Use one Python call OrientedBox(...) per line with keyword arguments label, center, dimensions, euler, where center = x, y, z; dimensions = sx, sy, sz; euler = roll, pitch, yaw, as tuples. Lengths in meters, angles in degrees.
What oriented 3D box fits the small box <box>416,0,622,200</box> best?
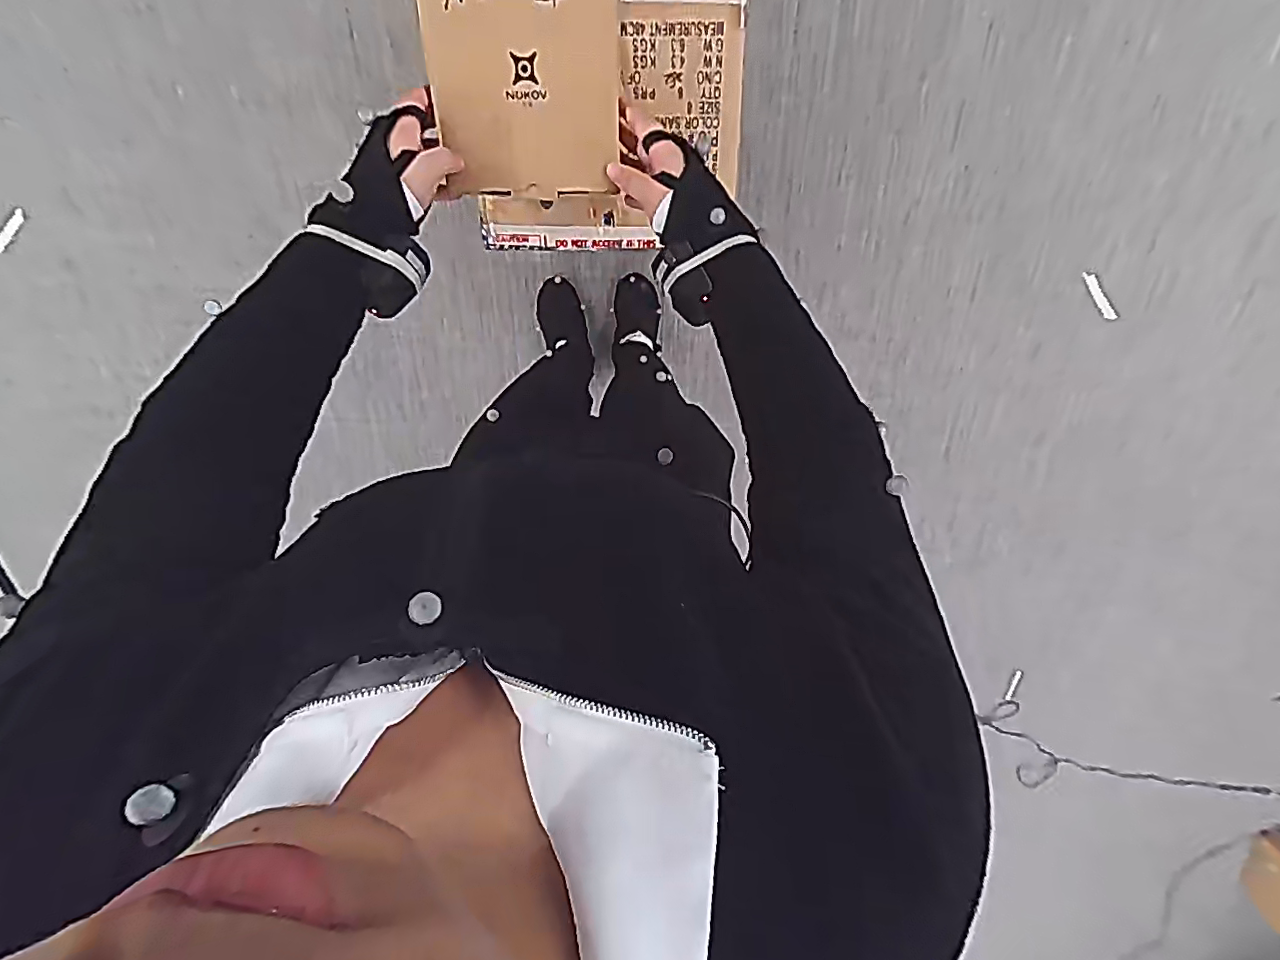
OrientedBox(label="small box", center=(-0.102, -0.383, 0.536), dimensions=(0.168, 0.176, 0.179), euler=(0, 120, -1))
